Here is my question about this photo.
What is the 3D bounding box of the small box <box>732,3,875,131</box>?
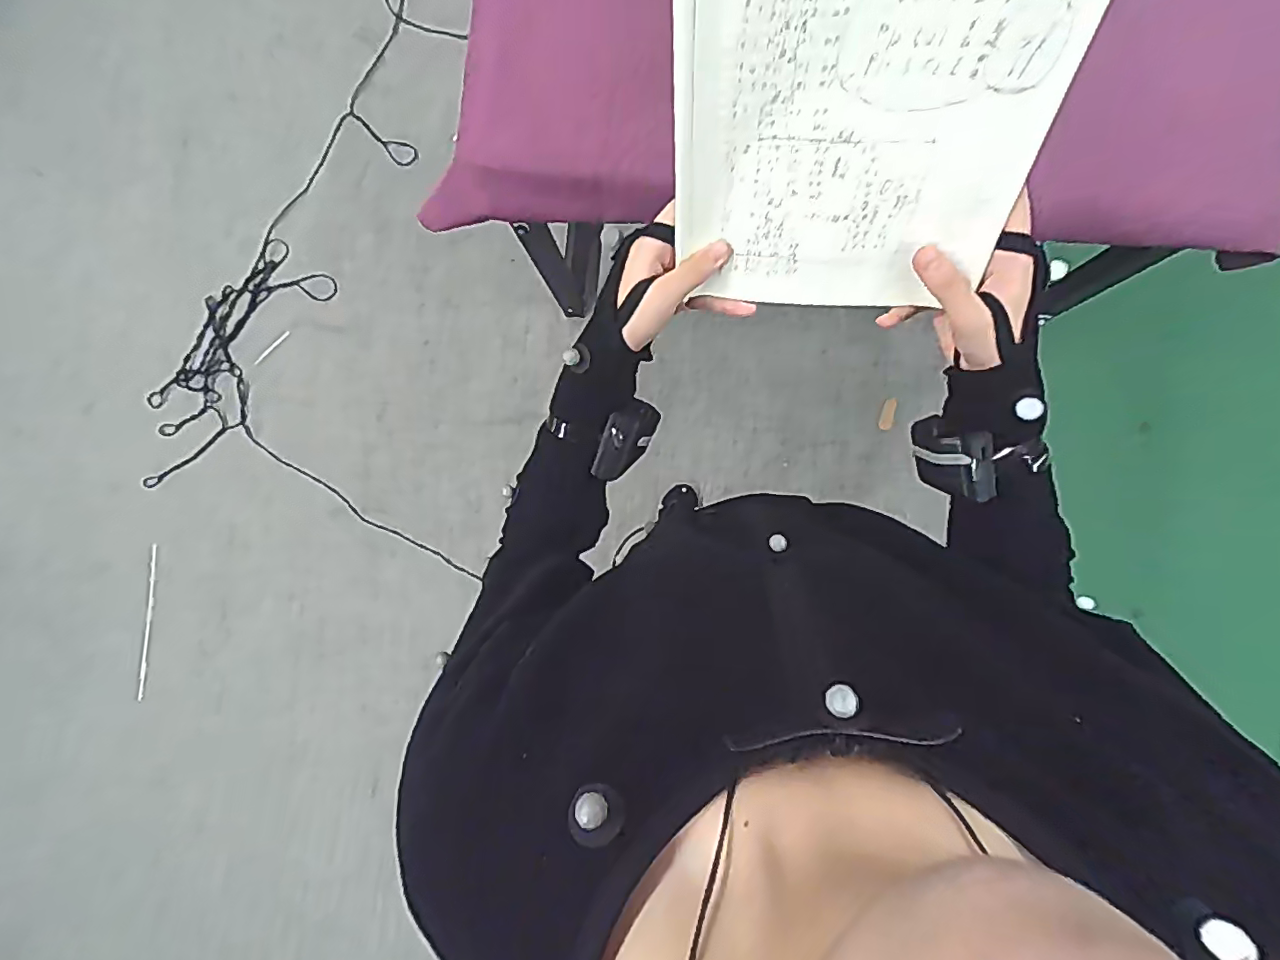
[{"bbox_3d":[0.221,-0.618,0.745,0.168,0.176,0.179,6,88,4],"label":"small box"}]

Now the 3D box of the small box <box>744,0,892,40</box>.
[{"bbox_3d":[0.208,-0.622,0.580,0.168,0.176,0.179,7,86,5],"label":"small box"}]
